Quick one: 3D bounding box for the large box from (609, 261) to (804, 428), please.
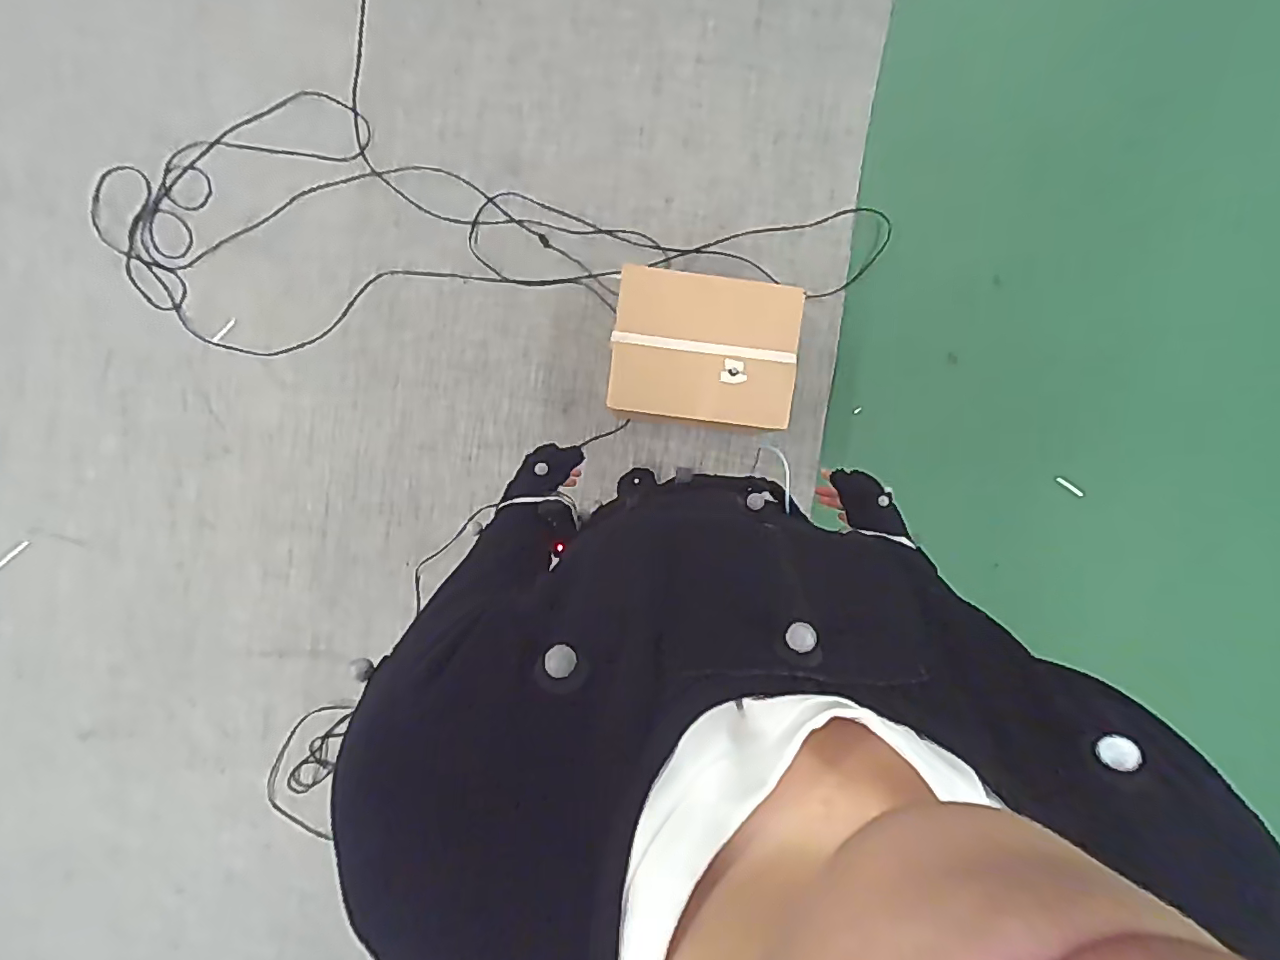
[{"bbox_3d":[0.137,-0.306,1.319,0.408,0.320,0.320,7,94,-2],"label":"large box"}]
